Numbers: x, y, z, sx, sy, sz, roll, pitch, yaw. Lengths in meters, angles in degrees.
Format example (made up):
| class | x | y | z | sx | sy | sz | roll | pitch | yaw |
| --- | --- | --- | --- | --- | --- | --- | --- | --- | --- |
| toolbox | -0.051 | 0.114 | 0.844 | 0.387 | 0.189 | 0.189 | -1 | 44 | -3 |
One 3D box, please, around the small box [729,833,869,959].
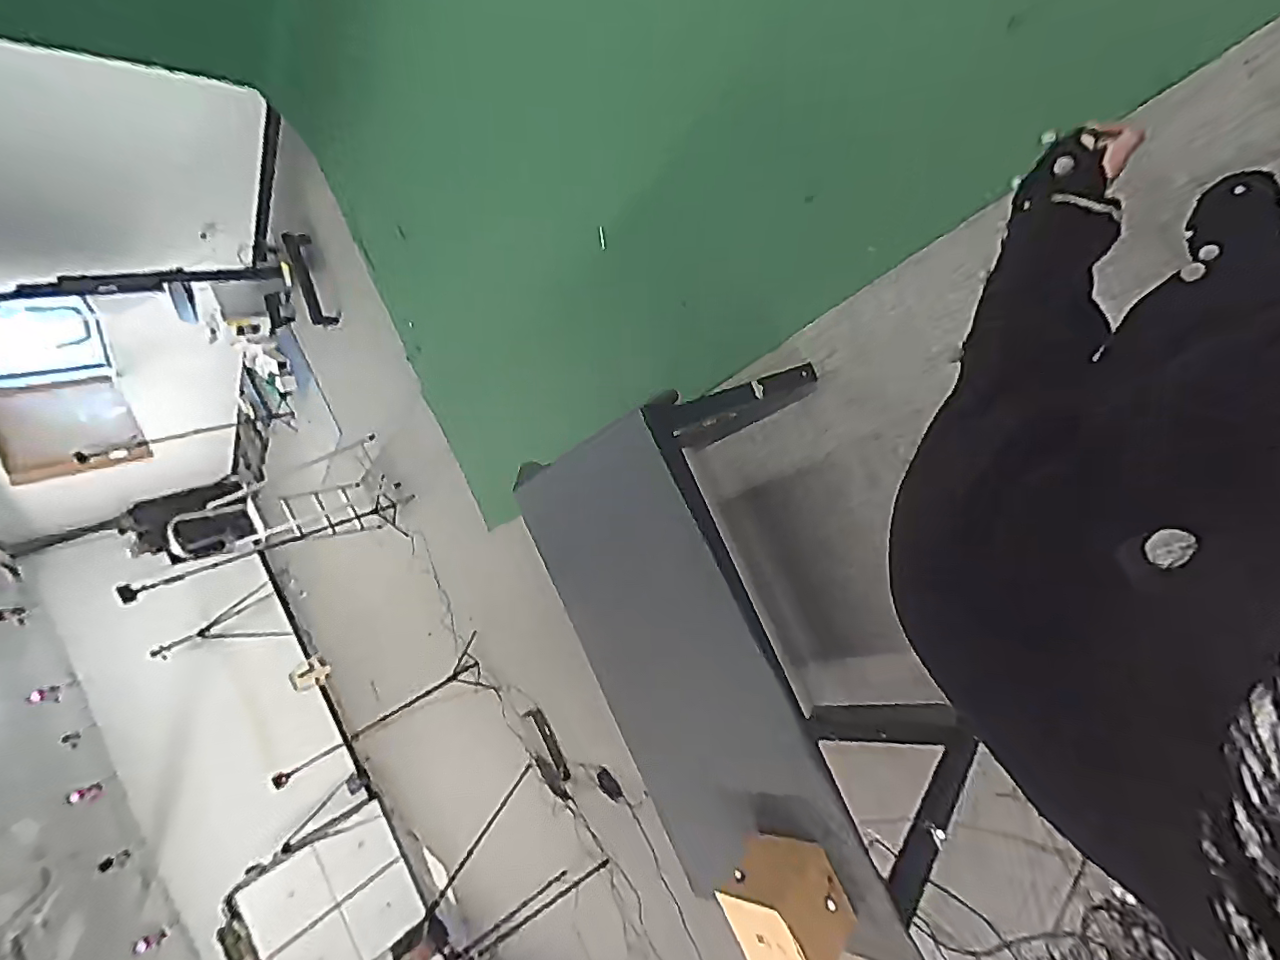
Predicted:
| class | x | y | z | sx | sy | sz | roll | pitch | yaw |
| --- | --- | --- | --- | --- | --- | --- | --- | --- | --- |
| small box | 0.320 | 0.849 | 1.086 | 0.179 | 0.176 | 0.168 | -32 | 85 | 47 |
